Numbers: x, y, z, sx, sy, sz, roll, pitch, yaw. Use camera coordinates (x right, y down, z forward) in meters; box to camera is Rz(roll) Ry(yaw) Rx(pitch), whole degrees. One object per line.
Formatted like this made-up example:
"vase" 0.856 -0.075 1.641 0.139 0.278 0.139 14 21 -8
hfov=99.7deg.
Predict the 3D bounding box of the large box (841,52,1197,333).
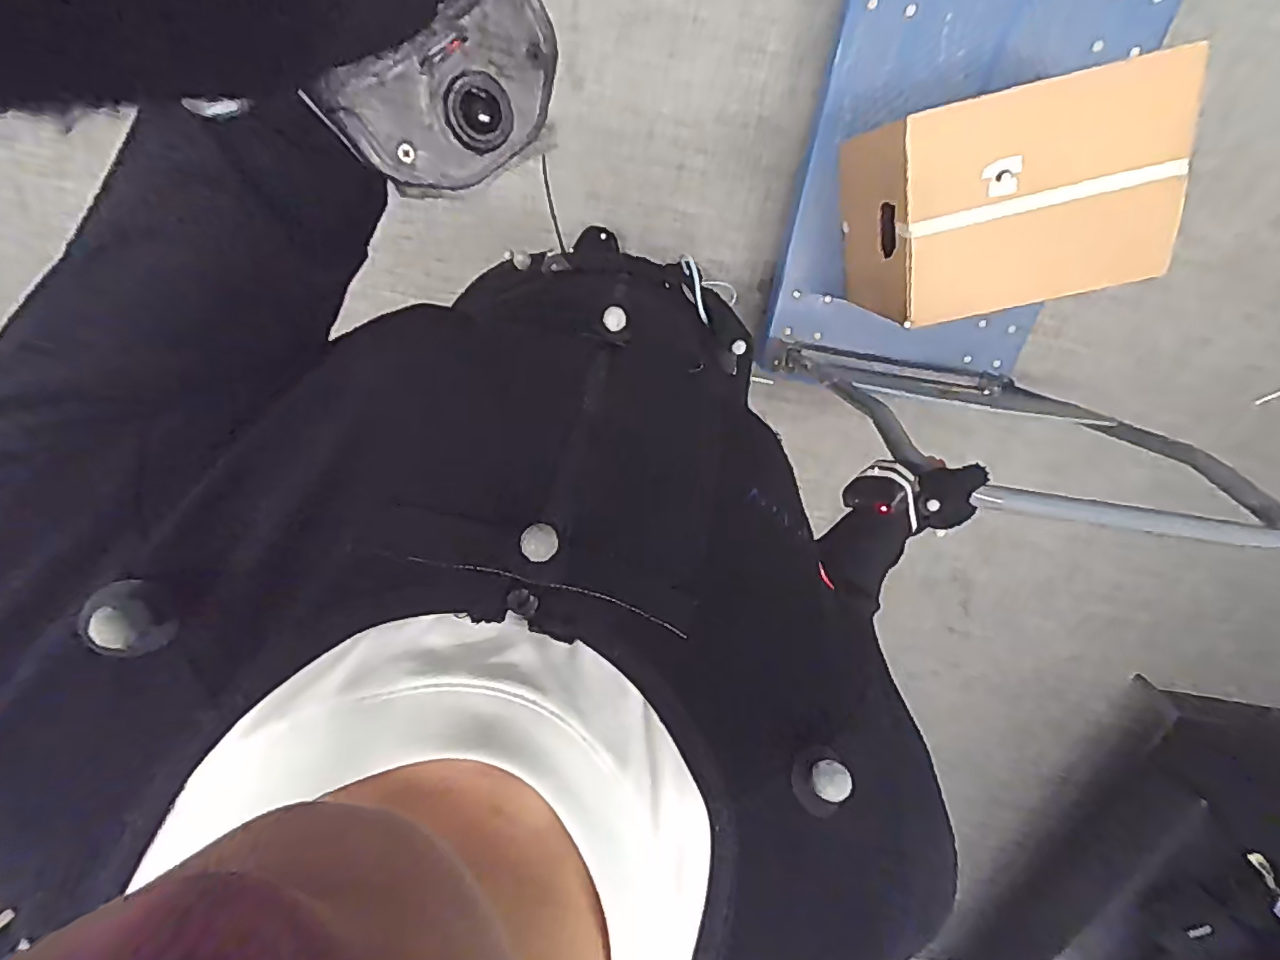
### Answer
"large box" 0.610 -0.486 0.962 0.408 0.320 0.320 -10 115 7
